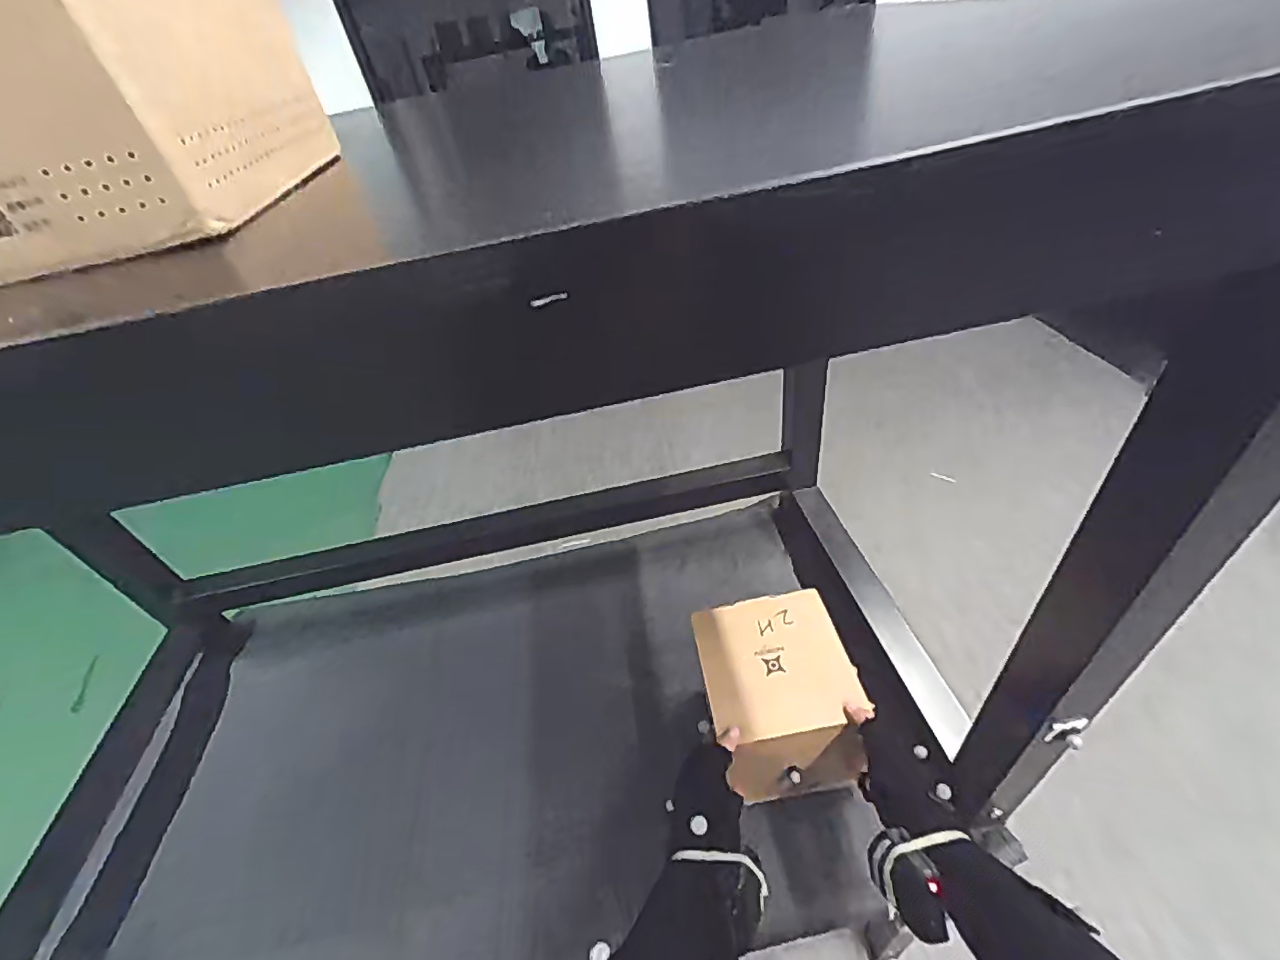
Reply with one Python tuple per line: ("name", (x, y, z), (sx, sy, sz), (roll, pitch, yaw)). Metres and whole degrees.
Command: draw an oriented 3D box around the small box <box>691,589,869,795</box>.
("small box", (0.167, 0.269, 0.676), (0.168, 0.176, 0.179), (-11, 38, 2))
